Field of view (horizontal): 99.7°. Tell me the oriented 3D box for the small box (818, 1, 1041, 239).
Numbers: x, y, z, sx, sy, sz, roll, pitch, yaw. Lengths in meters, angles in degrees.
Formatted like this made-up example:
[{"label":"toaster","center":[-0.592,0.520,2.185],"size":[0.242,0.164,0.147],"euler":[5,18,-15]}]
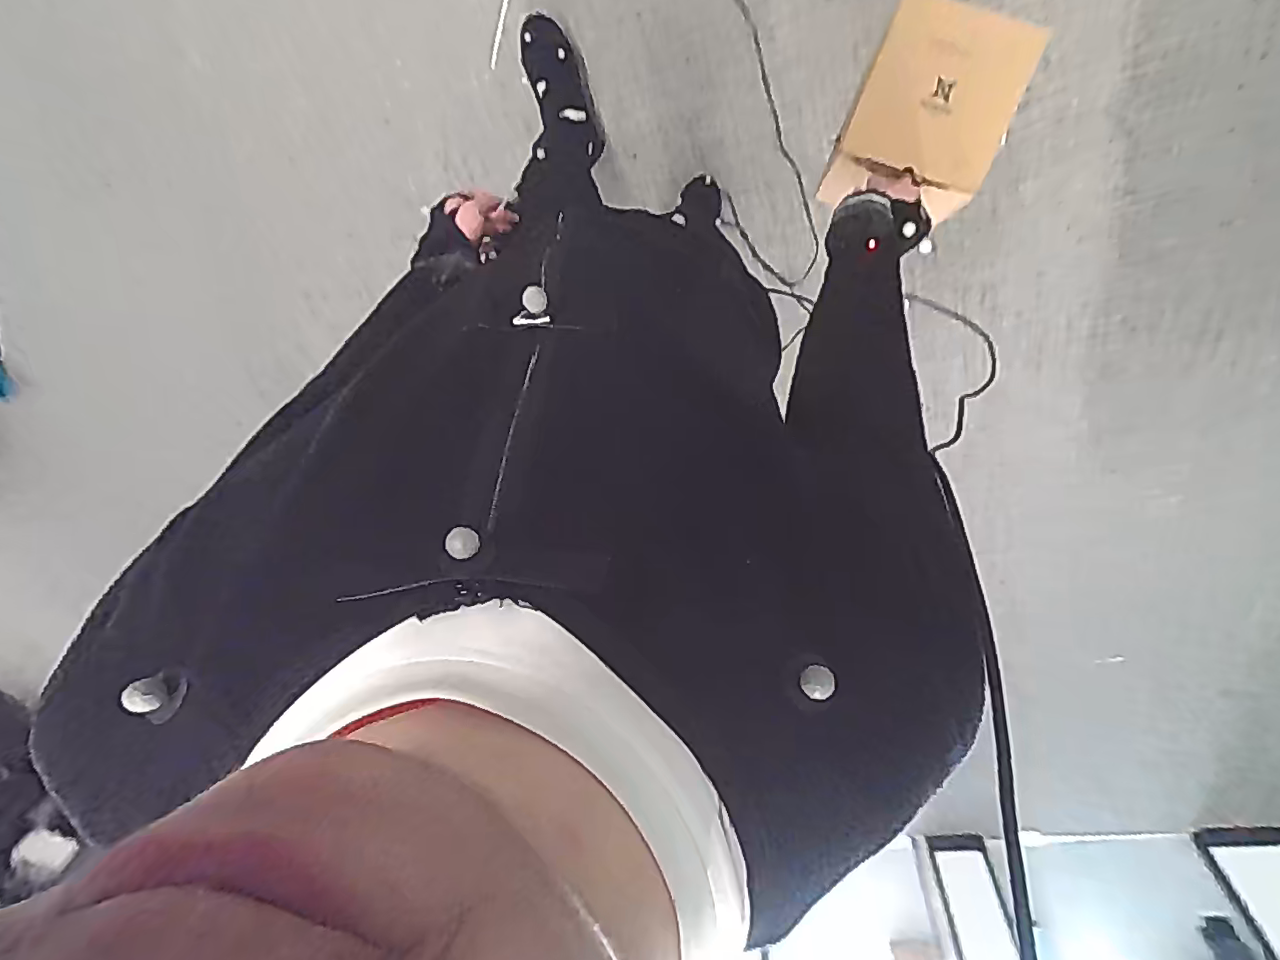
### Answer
[{"label":"small box","center":[0.347,-0.438,0.694],"size":[0.168,0.176,0.179],"euler":[22,100,1]}]
